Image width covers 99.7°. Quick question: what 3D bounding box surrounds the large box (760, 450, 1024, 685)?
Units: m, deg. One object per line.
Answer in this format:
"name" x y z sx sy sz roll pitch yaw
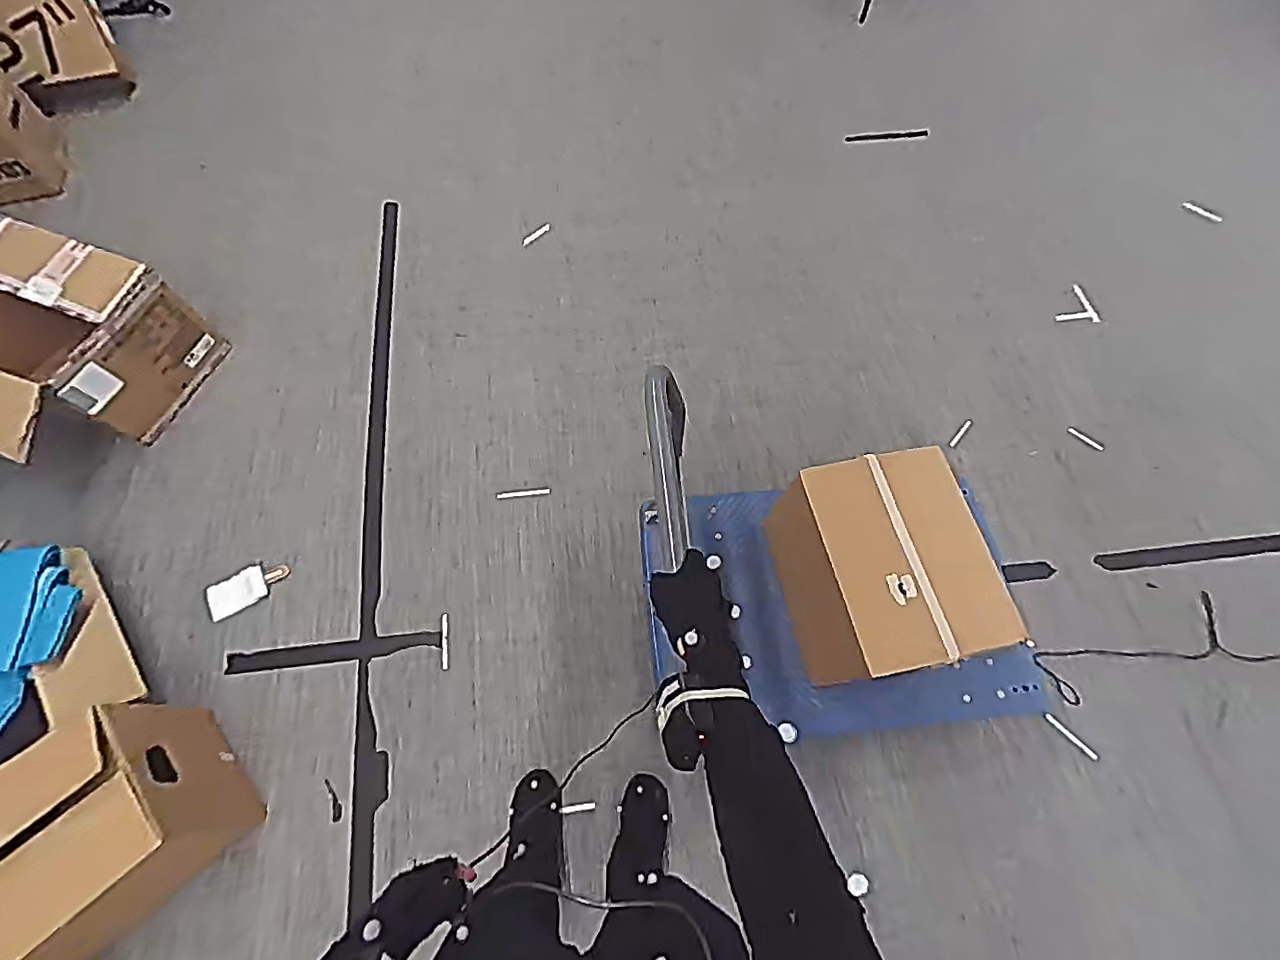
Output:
"large box" 0.497 0.197 1.167 0.320 0.320 0.408 -10 68 -7
